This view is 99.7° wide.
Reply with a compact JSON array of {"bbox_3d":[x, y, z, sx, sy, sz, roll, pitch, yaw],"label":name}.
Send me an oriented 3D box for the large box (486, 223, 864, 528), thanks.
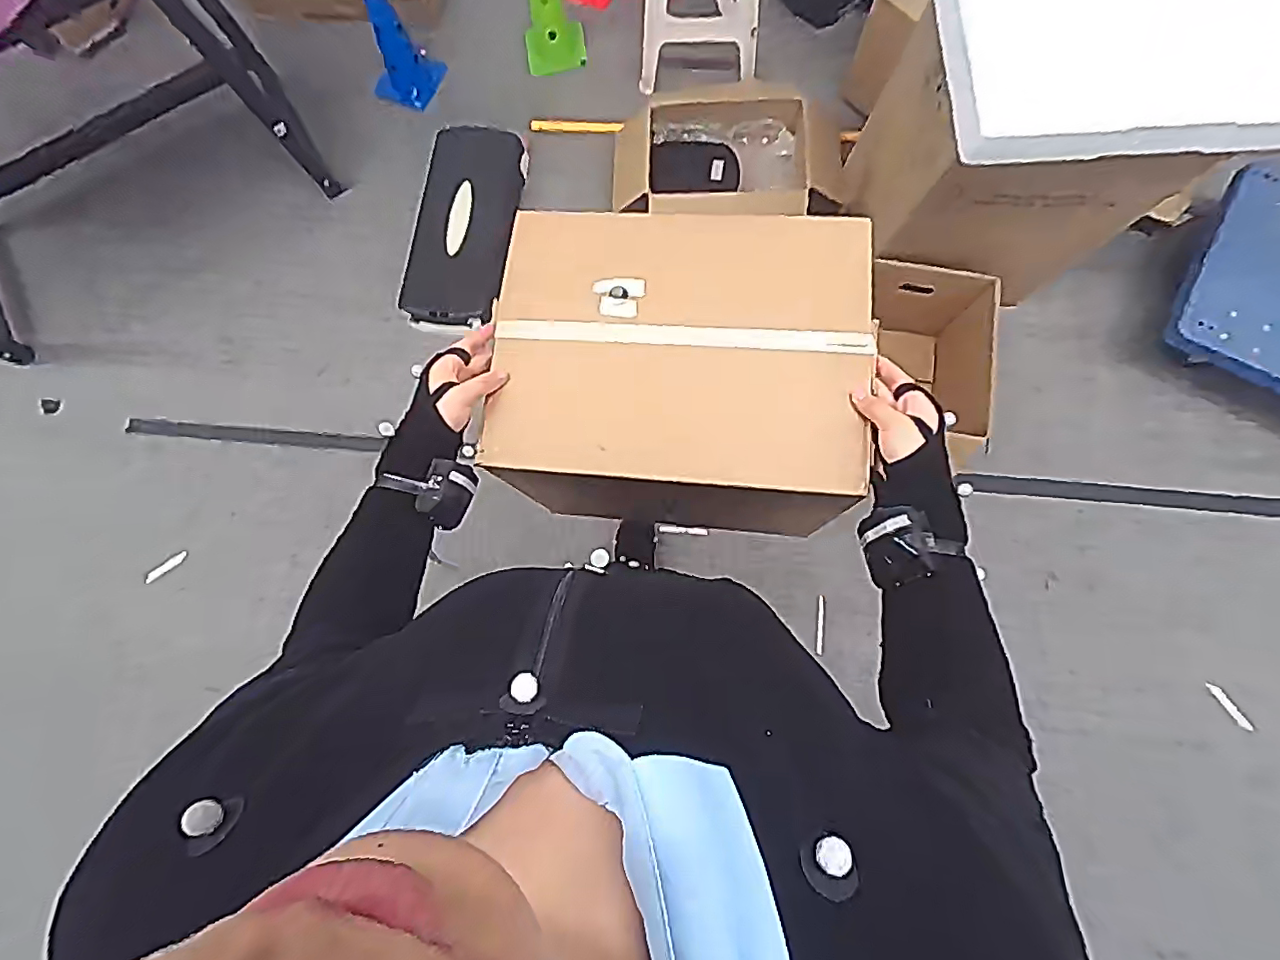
[{"bbox_3d":[0.057,-0.115,0.740,0.408,0.320,0.320,4,75,7],"label":"large box"}]
